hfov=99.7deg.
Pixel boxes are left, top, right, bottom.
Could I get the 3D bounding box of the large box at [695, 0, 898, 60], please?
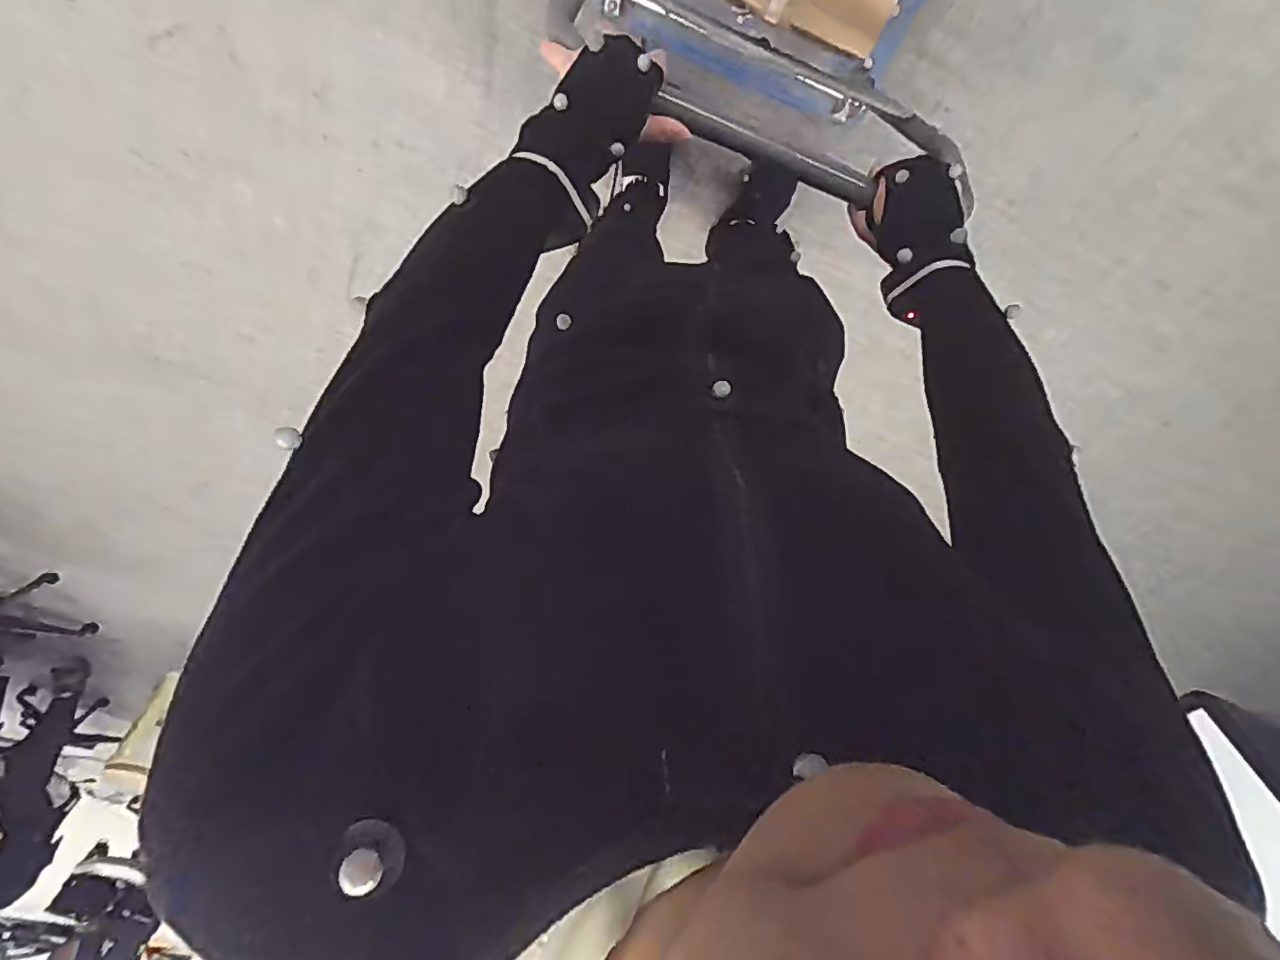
[{"bbox_3d":[0.258,-0.887,0.759,0.320,0.320,0.408,17,128,-10],"label":"large box"}]
